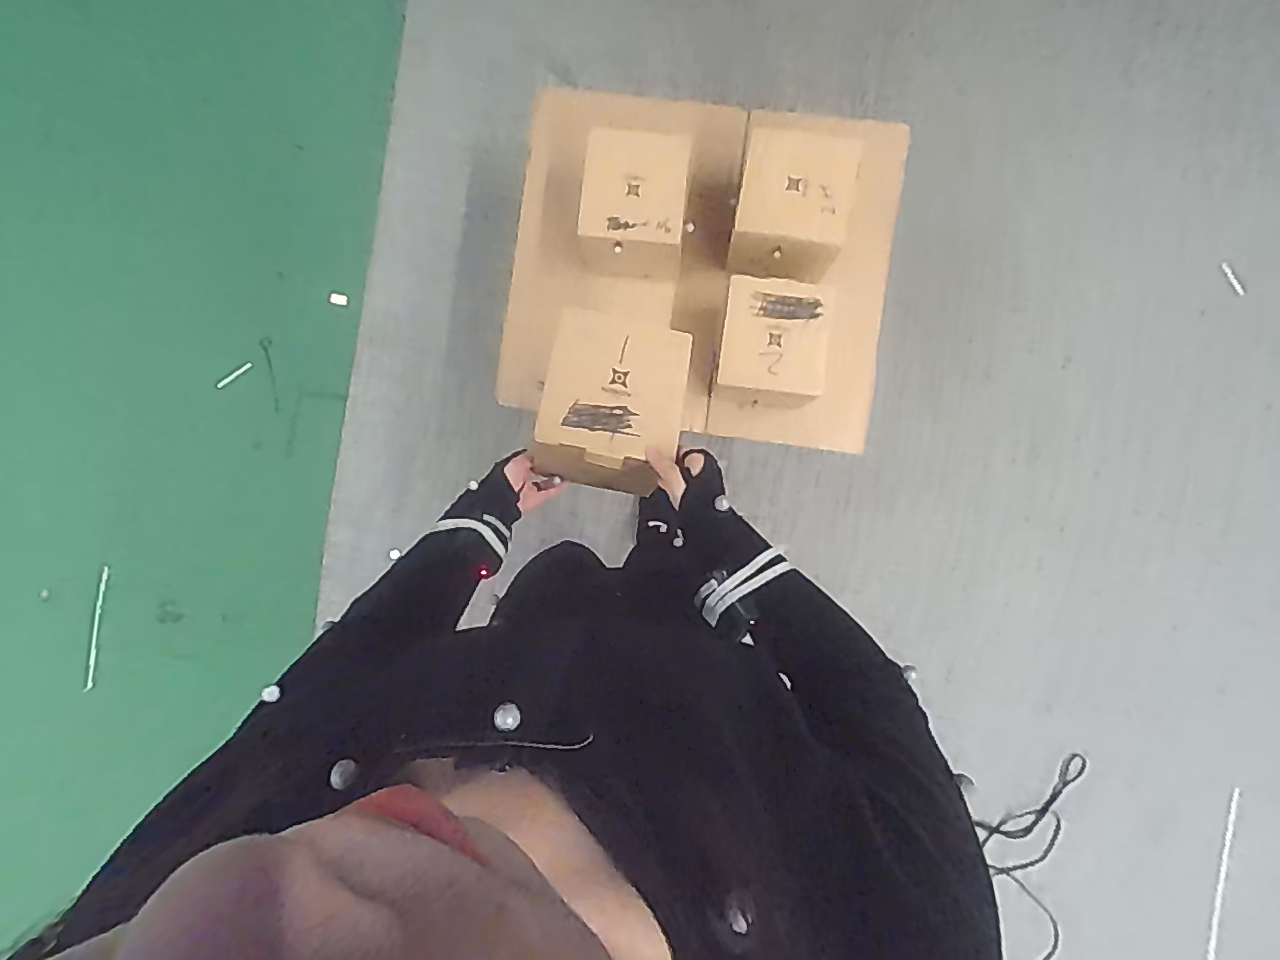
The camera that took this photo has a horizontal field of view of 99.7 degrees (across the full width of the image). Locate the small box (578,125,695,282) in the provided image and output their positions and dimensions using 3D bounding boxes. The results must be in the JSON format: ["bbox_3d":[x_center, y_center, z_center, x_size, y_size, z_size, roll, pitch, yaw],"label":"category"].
[{"bbox_3d":[-0.001,-0.463,0.925,0.168,0.176,0.179,7,89,5],"label":"small box"}]

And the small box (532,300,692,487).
[{"bbox_3d":[-0.040,-0.099,0.709,0.168,0.176,0.179,11,74,-7],"label":"small box"}]
